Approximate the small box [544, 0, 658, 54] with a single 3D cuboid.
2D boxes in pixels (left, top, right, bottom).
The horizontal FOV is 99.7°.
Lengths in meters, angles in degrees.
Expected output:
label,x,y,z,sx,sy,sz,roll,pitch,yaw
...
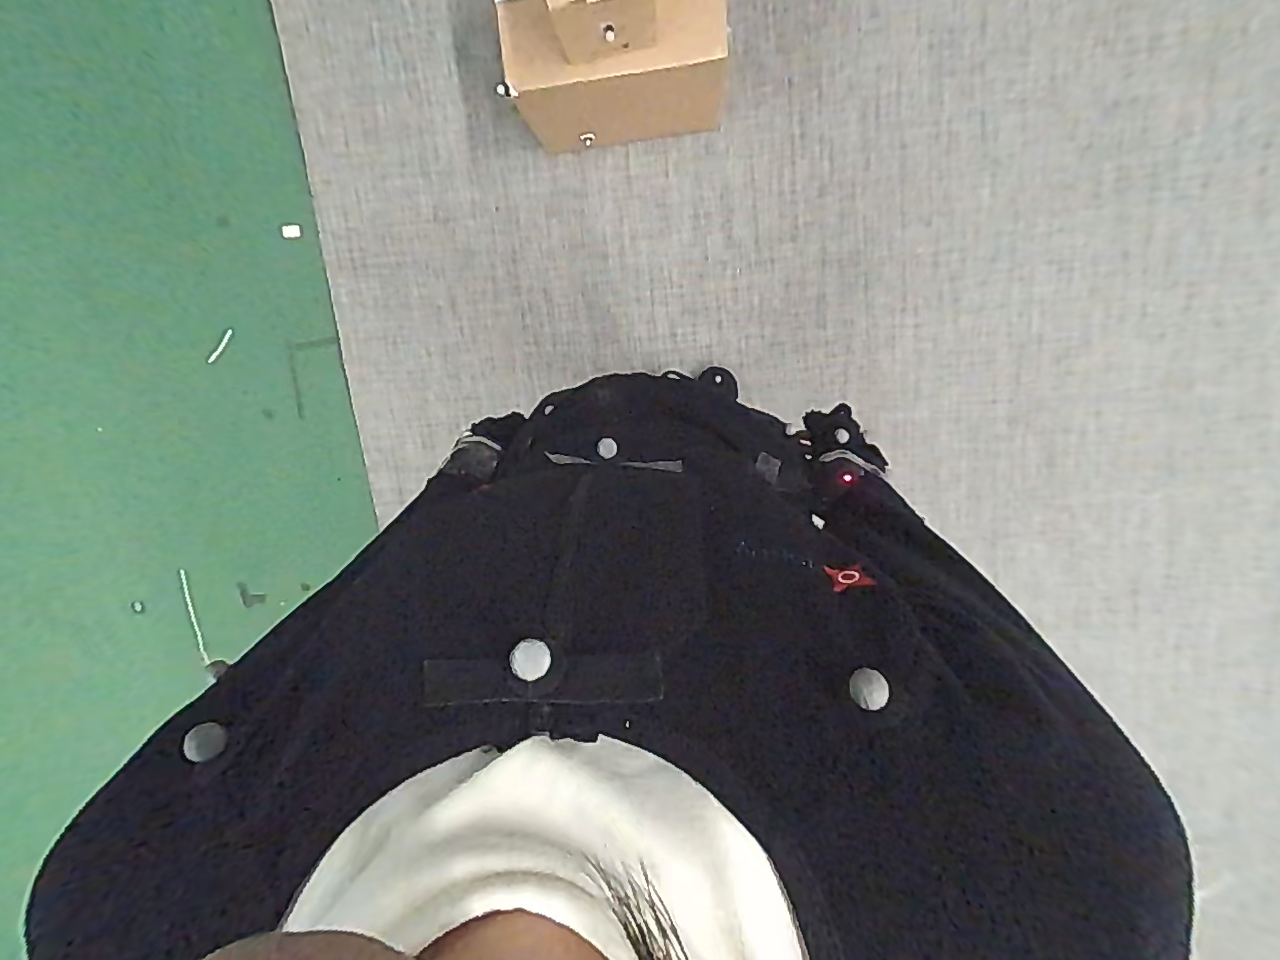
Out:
label,x,y,z,sx,sy,sz,roll,pitch,yaw
small box,-0.067,-0.820,0.860,0.168,0.176,0.179,-8,103,7
